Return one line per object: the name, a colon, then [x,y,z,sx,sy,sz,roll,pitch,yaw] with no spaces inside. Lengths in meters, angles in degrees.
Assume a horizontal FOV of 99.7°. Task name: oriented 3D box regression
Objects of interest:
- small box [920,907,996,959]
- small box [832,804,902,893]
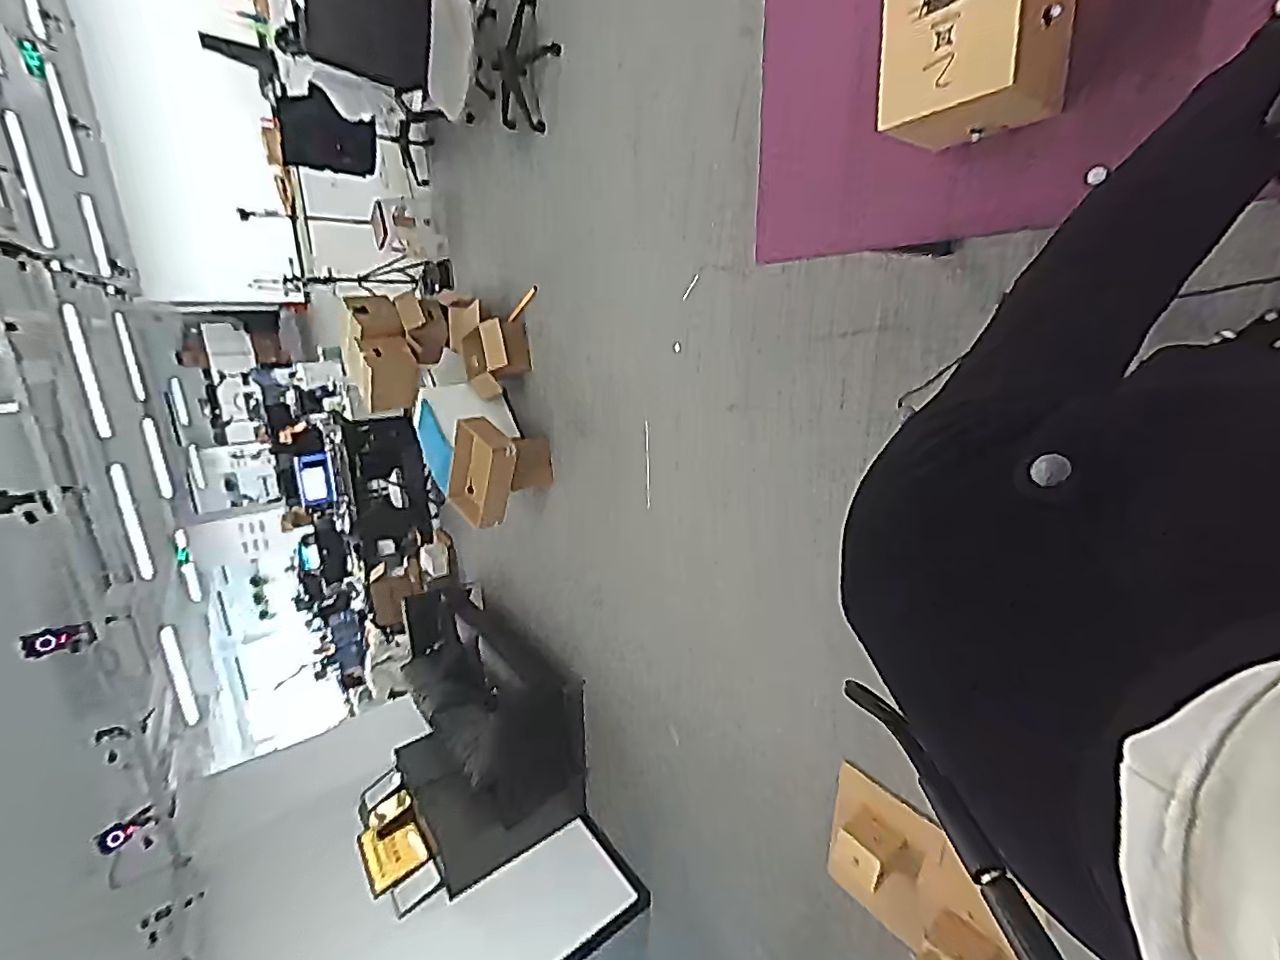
small box: [1.049,1.581,1.784,0.168,0.176,0.179,12,110,52]
small box: [0.839,1.349,1.994,0.168,0.176,0.179,25,122,48]
